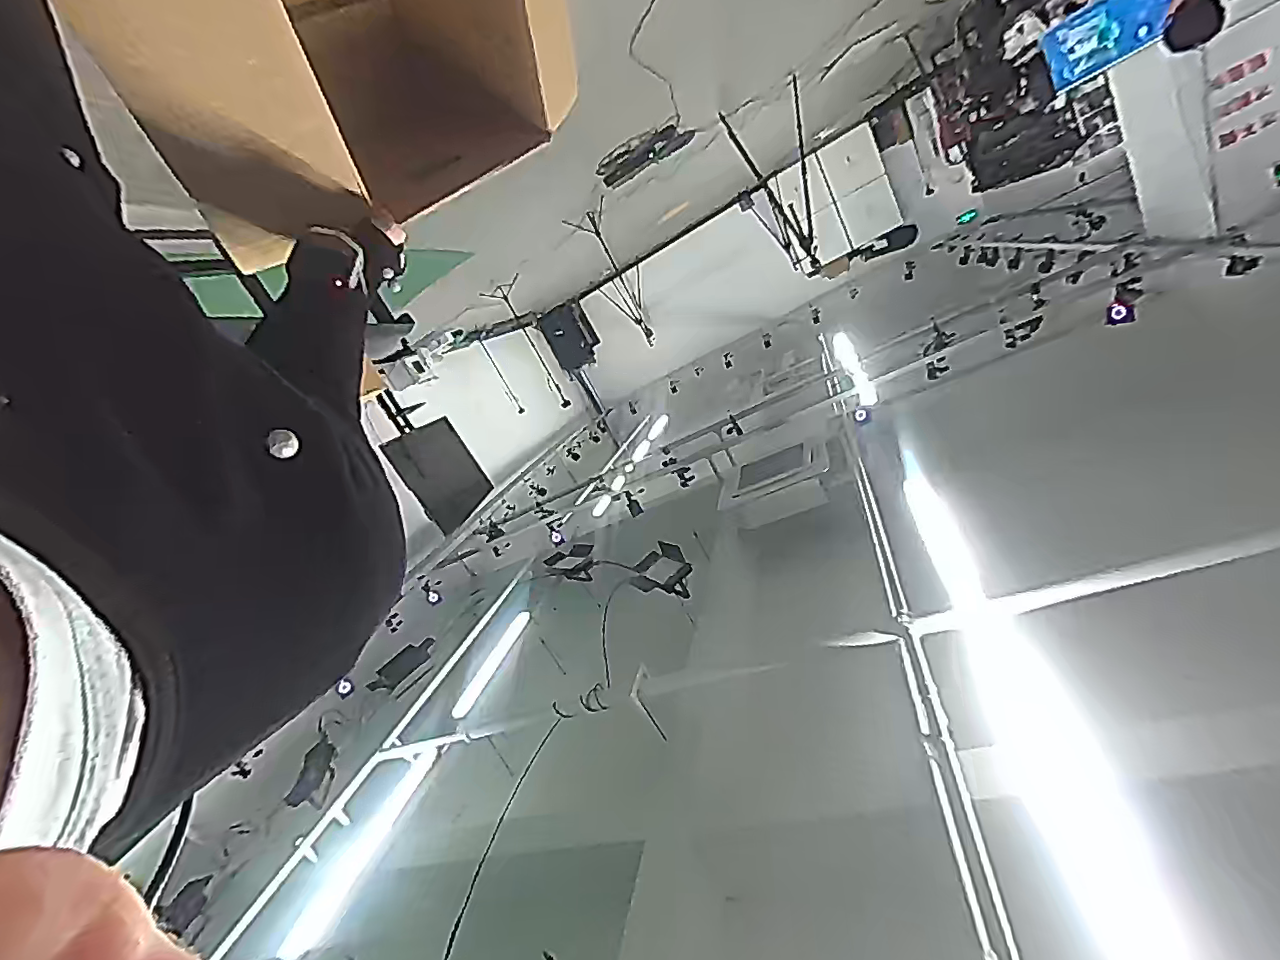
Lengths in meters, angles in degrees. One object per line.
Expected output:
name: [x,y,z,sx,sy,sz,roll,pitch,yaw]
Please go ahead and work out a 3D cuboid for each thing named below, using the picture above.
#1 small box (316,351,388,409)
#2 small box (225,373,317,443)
small box: [-1.194,-0.422,2.234,0.179,0.176,0.168,-18,-164,31]
small box: [-1.315,-0.261,1.924,0.168,0.176,0.179,-23,-165,22]
